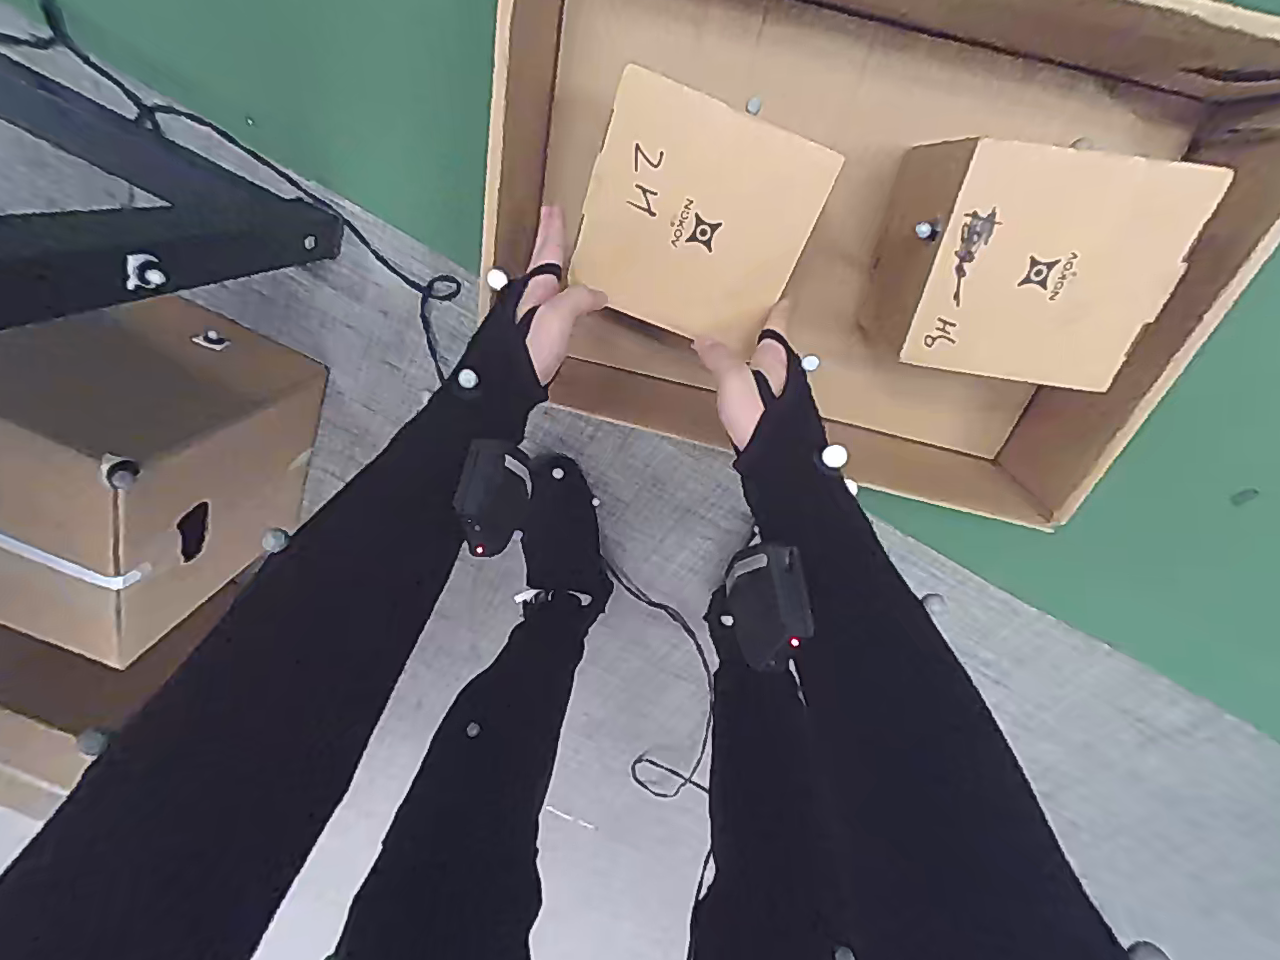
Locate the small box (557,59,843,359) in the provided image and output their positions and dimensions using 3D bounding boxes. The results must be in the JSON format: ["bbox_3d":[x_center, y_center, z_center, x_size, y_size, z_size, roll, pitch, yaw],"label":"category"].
[{"bbox_3d":[0.047,-0.235,0.486,0.179,0.176,0.168,20,119,-5],"label":"small box"}]
